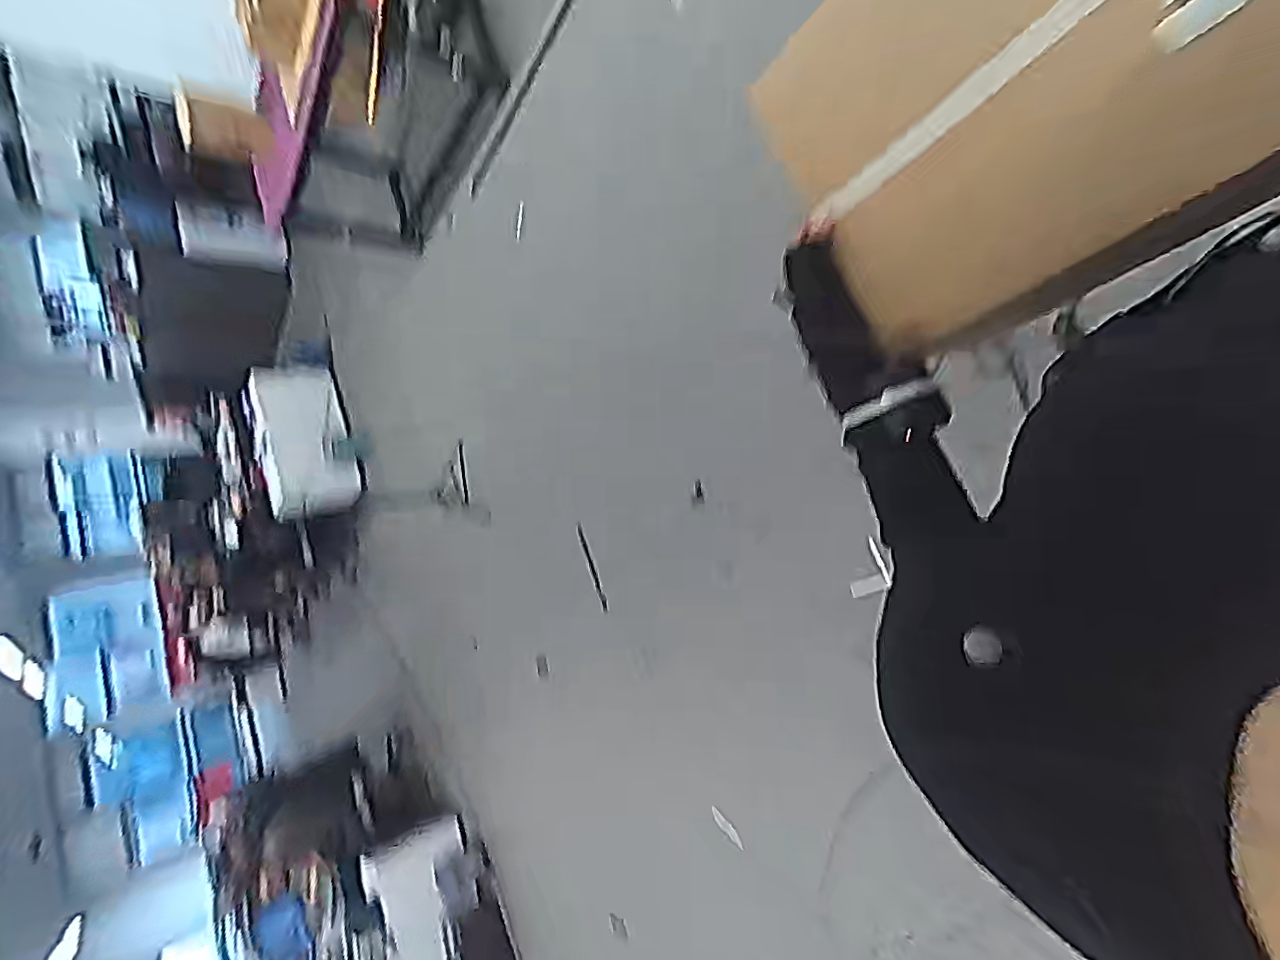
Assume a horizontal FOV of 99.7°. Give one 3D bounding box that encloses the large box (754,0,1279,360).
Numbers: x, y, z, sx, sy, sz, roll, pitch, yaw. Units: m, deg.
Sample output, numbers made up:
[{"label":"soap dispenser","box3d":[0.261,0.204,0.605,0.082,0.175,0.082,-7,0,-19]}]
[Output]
[{"label":"large box","box3d":[0.396,-0.353,0.505,0.408,0.320,0.320,-32,80,42]}]
